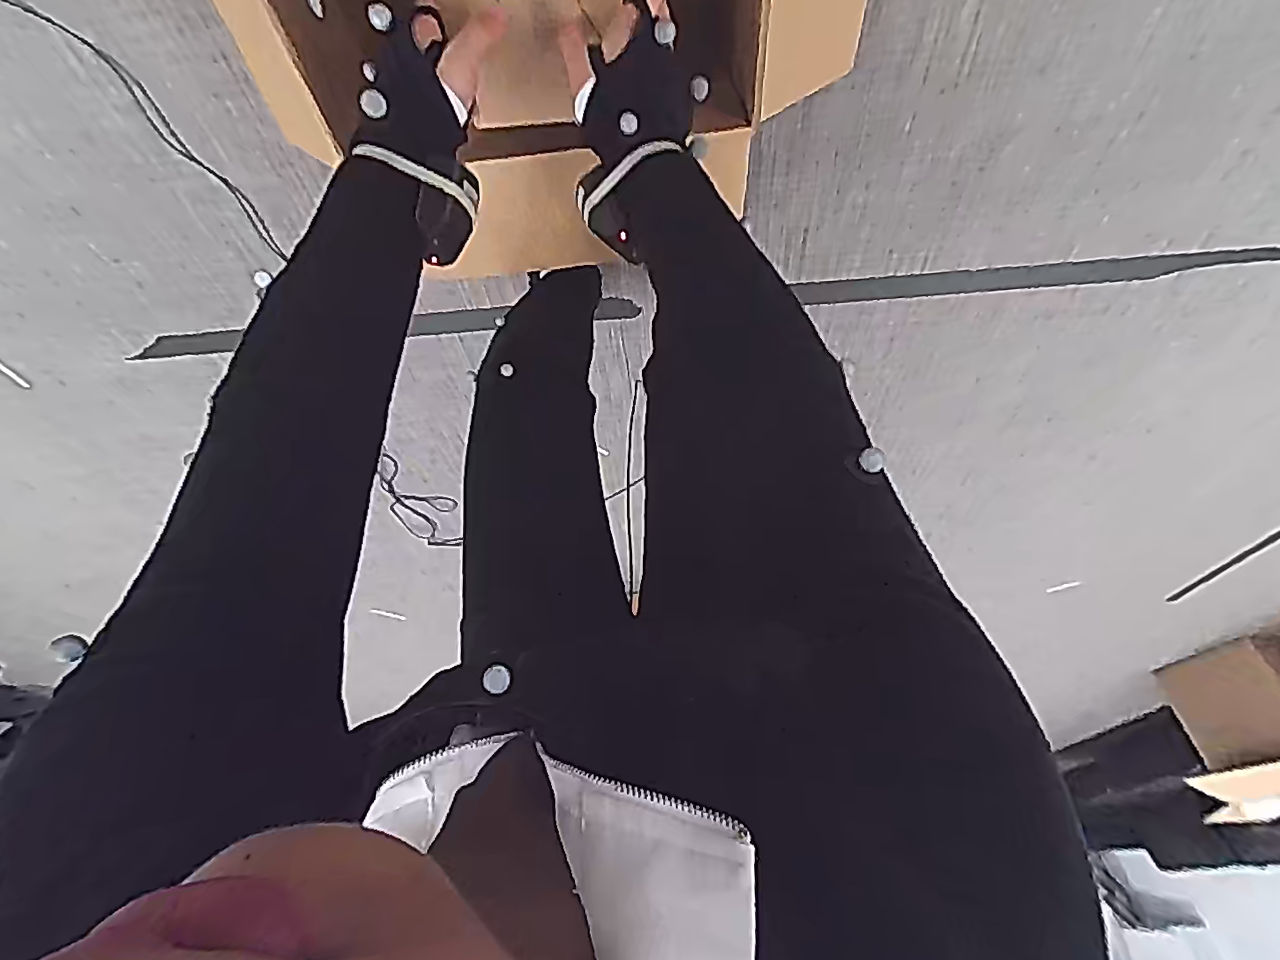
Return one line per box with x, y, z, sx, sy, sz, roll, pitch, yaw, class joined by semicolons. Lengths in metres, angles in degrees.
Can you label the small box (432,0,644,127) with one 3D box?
-0.083;-0.439;0.465;0.168;0.176;0.179;-3;152;2;small box
